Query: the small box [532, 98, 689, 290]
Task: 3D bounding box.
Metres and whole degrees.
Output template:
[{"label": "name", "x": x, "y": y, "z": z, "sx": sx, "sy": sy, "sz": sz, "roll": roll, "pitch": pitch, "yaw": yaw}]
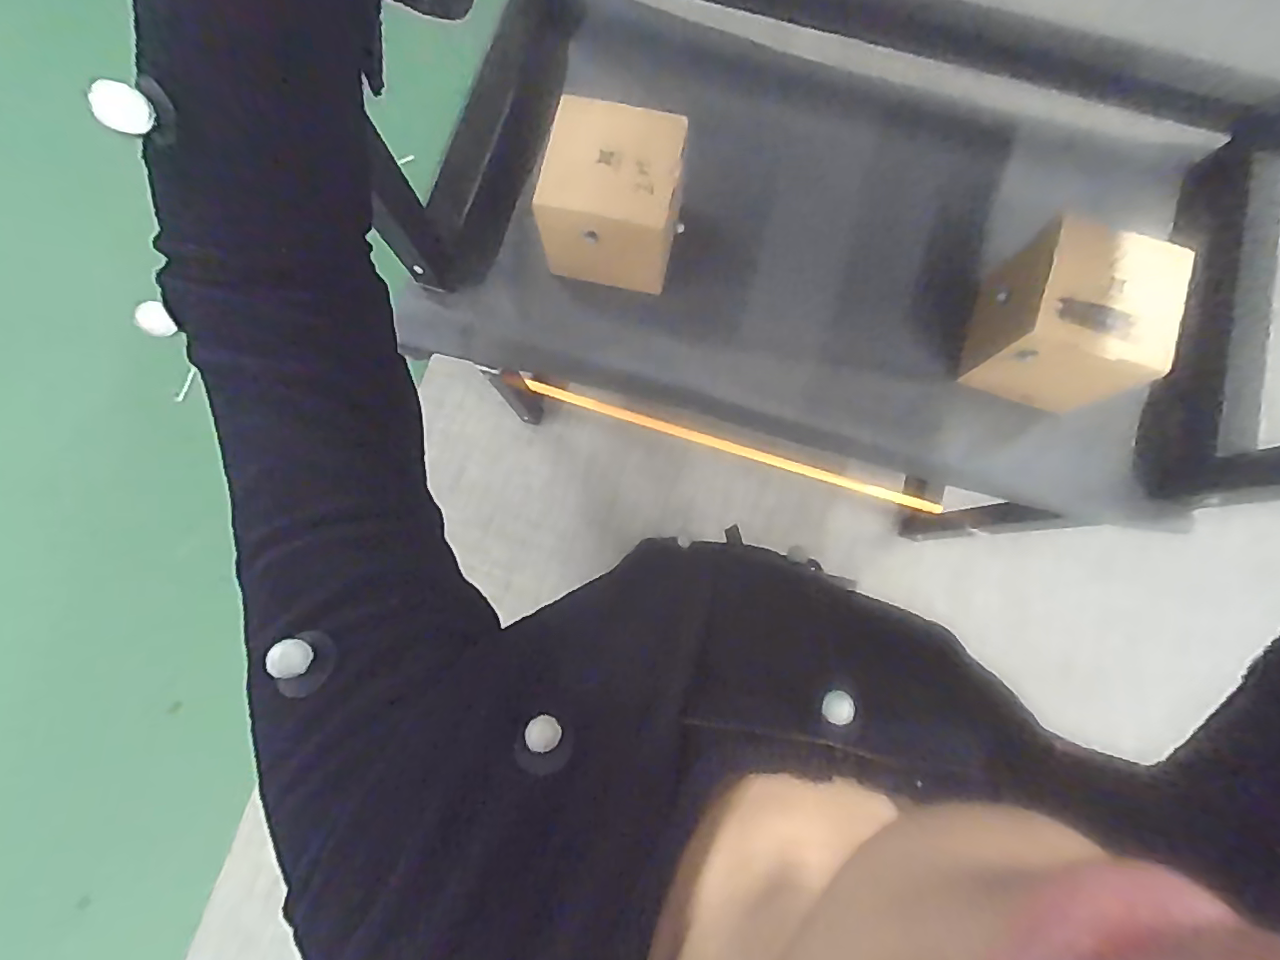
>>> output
[{"label": "small box", "x": -0.037, "y": -0.397, "z": 0.777, "sx": 0.179, "sy": 0.176, "sz": 0.168, "roll": 13, "pitch": 81, "yaw": 2}]
